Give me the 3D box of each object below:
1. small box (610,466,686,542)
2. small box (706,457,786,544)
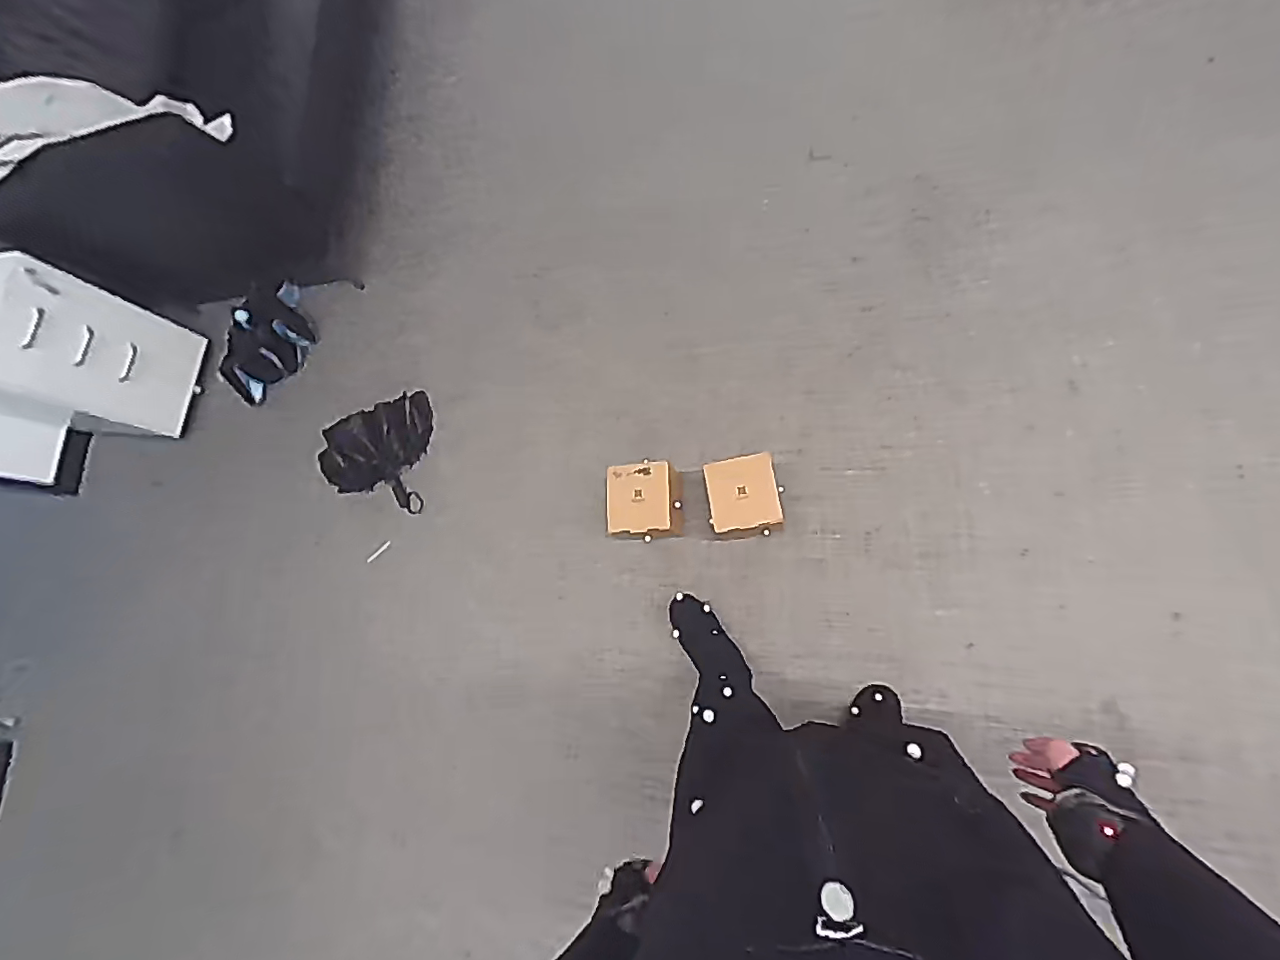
[{"bbox_3d":[0.024,0.072,1.435,0.168,0.176,0.179,-5,76,15],"label":"small box"},{"bbox_3d":[0.271,0.060,1.367,0.168,0.176,0.179,-12,72,12],"label":"small box"}]
